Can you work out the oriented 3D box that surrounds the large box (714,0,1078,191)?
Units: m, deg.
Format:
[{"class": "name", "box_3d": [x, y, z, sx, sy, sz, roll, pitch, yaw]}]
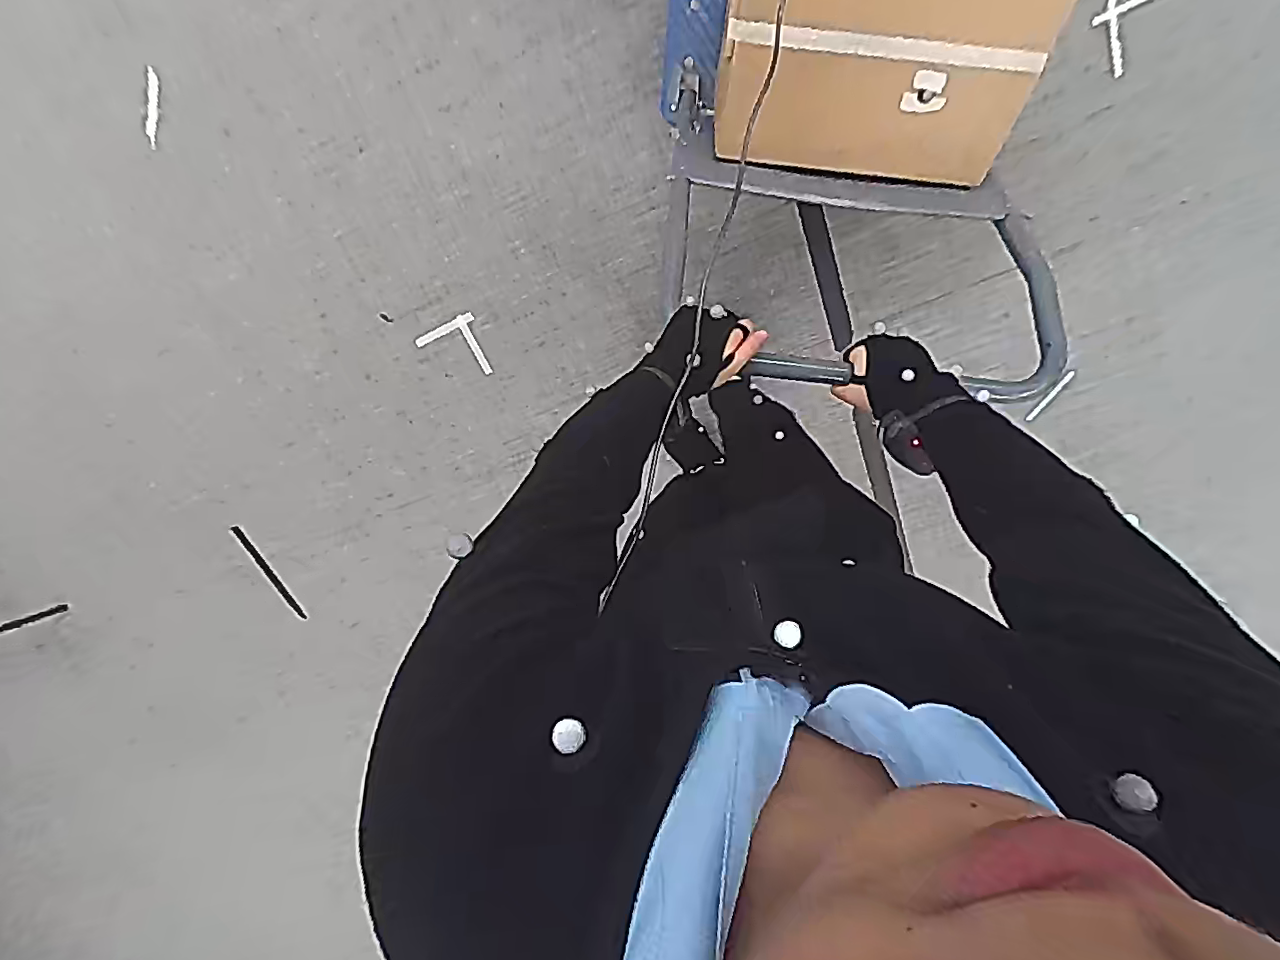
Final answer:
[{"class": "large box", "box_3d": [0.333, -0.667, 0.798, 0.408, 0.320, 0.320, 6, 141, -1]}]
